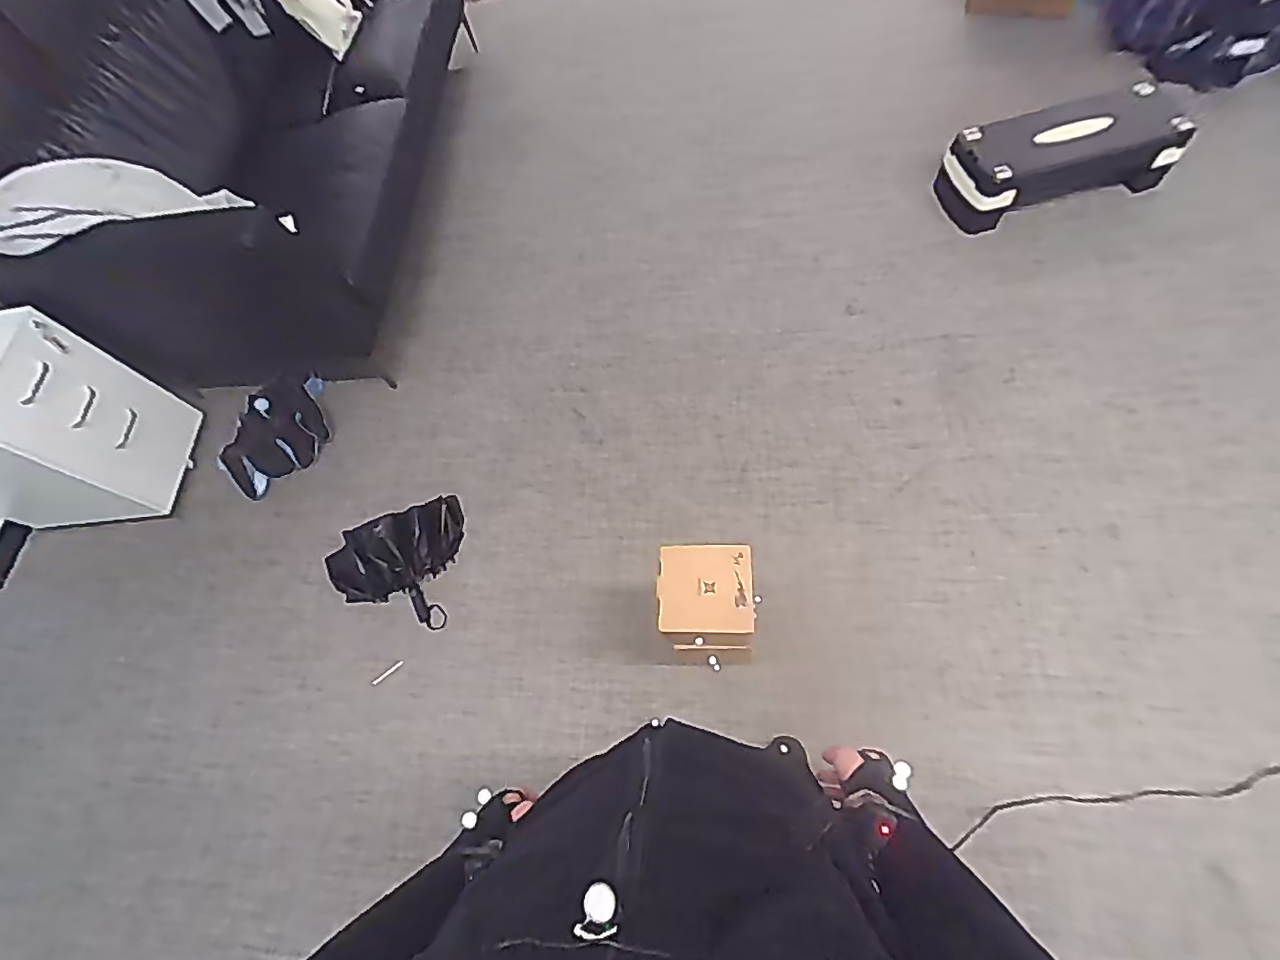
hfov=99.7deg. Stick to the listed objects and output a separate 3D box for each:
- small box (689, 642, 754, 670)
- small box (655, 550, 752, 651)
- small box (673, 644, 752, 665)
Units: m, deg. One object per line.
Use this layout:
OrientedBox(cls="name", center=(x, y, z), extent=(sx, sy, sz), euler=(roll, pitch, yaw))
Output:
OrientedBox(cls="small box", center=(0.196, 0.381, 1.368), extent=(0.168, 0.176, 0.179), euler=(-5, 65, 8))
OrientedBox(cls="small box", center=(0.132, 0.244, 1.076), extent=(0.179, 0.176, 0.168), euler=(-2, 65, 10))
OrientedBox(cls="small box", center=(0.162, 0.316, 1.220), extent=(0.168, 0.176, 0.179), euler=(-4, 65, 9))
